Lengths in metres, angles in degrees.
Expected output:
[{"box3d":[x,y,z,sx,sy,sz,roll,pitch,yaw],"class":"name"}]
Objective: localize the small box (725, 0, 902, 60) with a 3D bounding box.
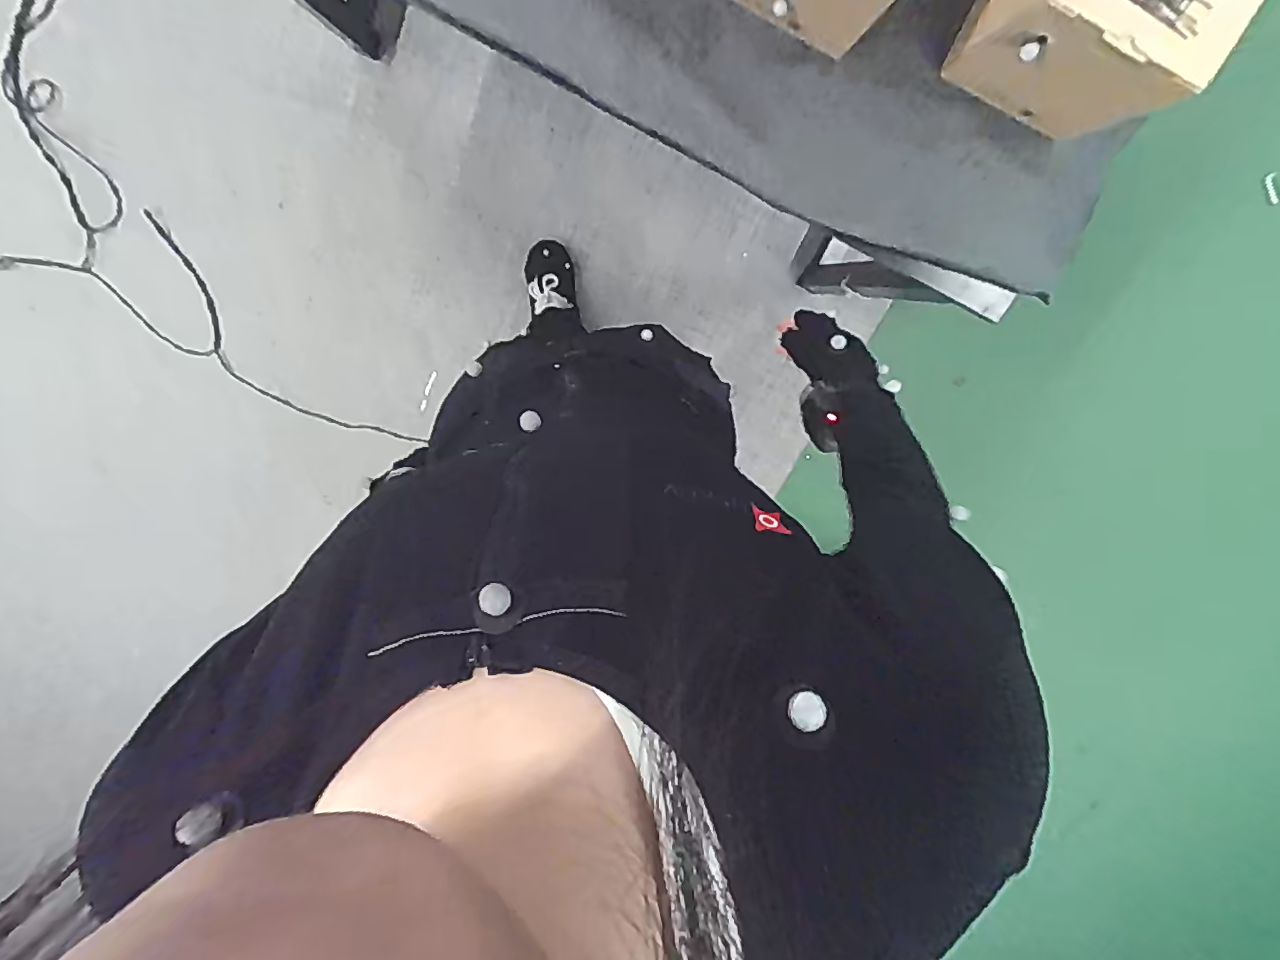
[{"box3d":[0.178,-0.526,0.471,0.168,0.176,0.179,22,108,-9],"class":"small box"}]
